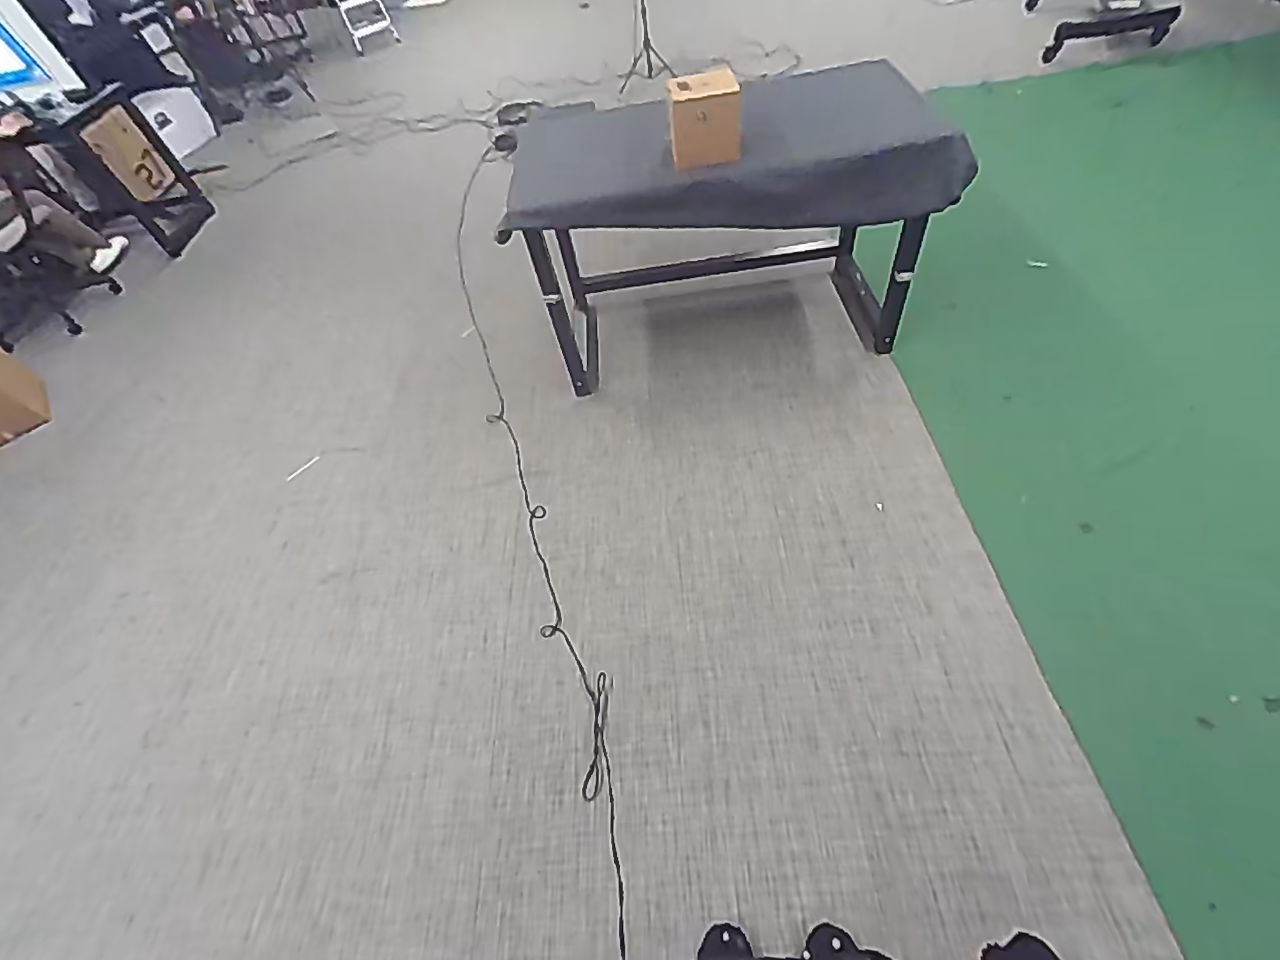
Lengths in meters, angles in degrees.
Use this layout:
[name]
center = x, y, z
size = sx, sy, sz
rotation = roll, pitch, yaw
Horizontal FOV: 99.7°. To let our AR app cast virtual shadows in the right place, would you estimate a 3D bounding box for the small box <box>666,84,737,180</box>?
[small box]
center = 0.172, -0.953, 1.490
size = 0.179, 0.176, 0.168
rotation = -6, 53, 5
